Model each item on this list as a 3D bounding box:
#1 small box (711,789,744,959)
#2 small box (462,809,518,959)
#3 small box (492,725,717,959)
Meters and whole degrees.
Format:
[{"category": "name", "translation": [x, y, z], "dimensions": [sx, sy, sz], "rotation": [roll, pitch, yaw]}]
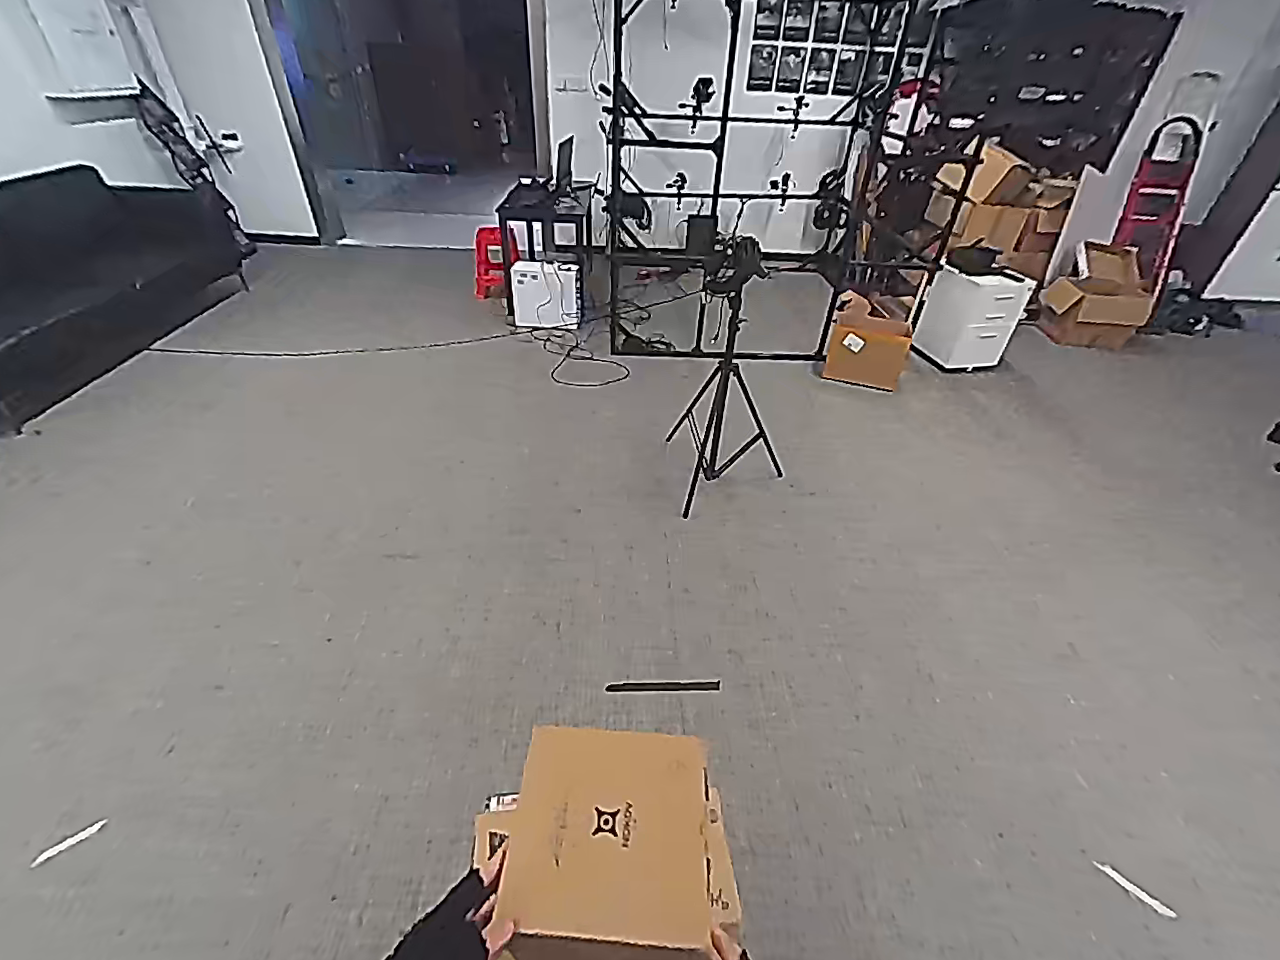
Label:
[{"category": "small box", "translation": [0.046, 0.606, 0.828], "dimensions": [0.168, 0.176, 0.179], "rotation": [0, 35, -6]}, {"category": "small box", "translation": [-0.152, 0.612, 0.806], "dimensions": [0.179, 0.176, 0.168], "rotation": [-4, 36, -7]}, {"category": "small box", "translation": [-0.023, 0.362, 0.524], "dimensions": [0.179, 0.176, 0.168], "rotation": [2, 38, 3]}]
